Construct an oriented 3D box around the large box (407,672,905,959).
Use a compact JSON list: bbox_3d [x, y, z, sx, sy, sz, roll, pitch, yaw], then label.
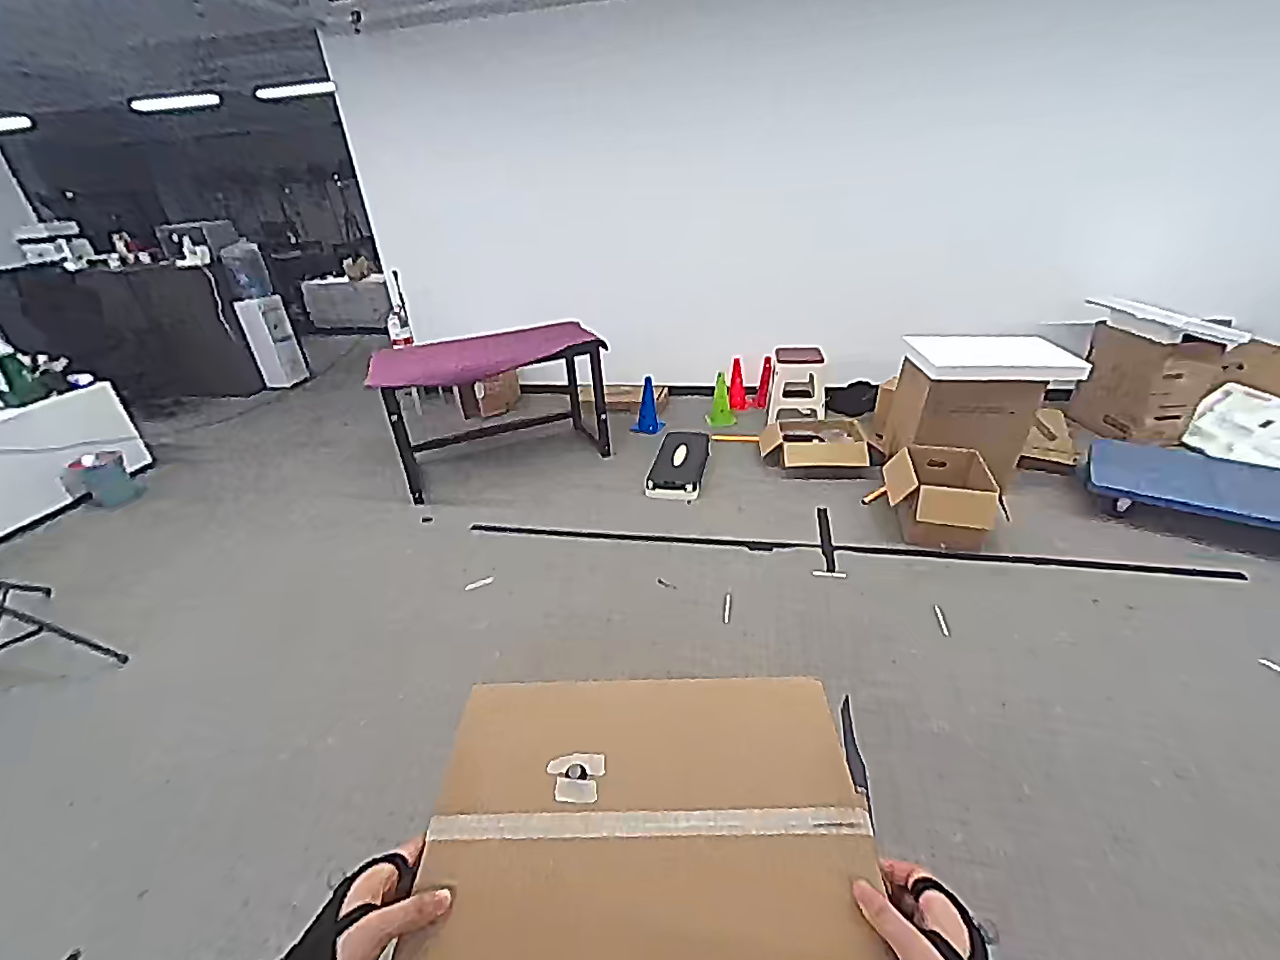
[{"bbox_3d":[0.022,0.446,0.596,0.408,0.320,0.320,-4,33,4],"label":"large box"}]
